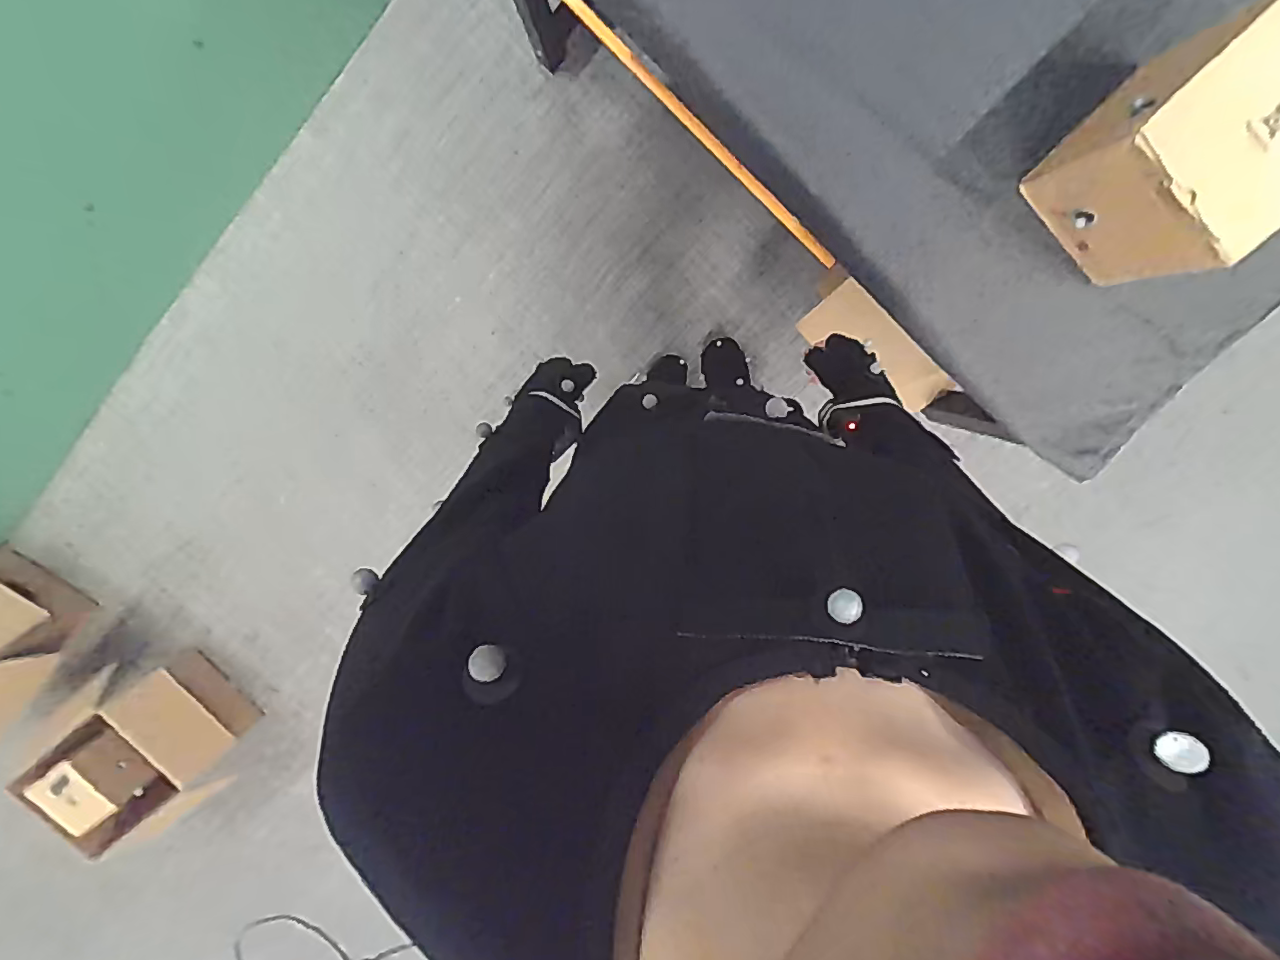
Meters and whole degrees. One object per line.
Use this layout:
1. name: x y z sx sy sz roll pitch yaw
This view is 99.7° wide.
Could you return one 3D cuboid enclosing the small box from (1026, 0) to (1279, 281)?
1. small box: 0.567 -0.336 0.564 0.168 0.176 0.179 44 101 -9
